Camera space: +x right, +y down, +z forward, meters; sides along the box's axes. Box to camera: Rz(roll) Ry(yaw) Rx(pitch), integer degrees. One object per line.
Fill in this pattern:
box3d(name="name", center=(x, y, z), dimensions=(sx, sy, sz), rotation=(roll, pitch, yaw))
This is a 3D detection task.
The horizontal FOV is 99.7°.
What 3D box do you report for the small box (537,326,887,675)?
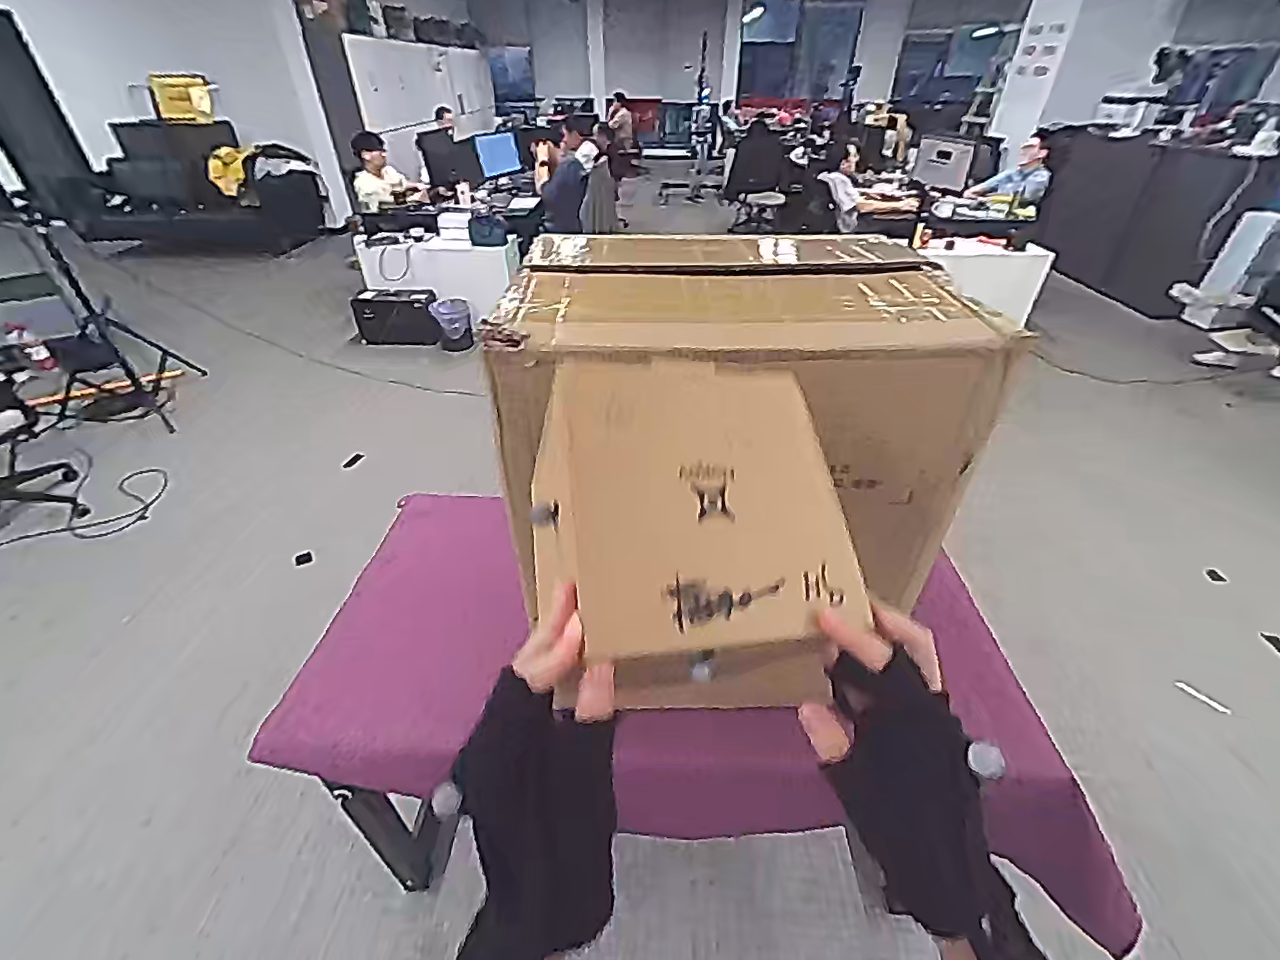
box3d(name="small box", center=(0.023, 0.024, 0.370), dimensions=(0.168, 0.176, 0.179), rotation=(0, 63, -17))
